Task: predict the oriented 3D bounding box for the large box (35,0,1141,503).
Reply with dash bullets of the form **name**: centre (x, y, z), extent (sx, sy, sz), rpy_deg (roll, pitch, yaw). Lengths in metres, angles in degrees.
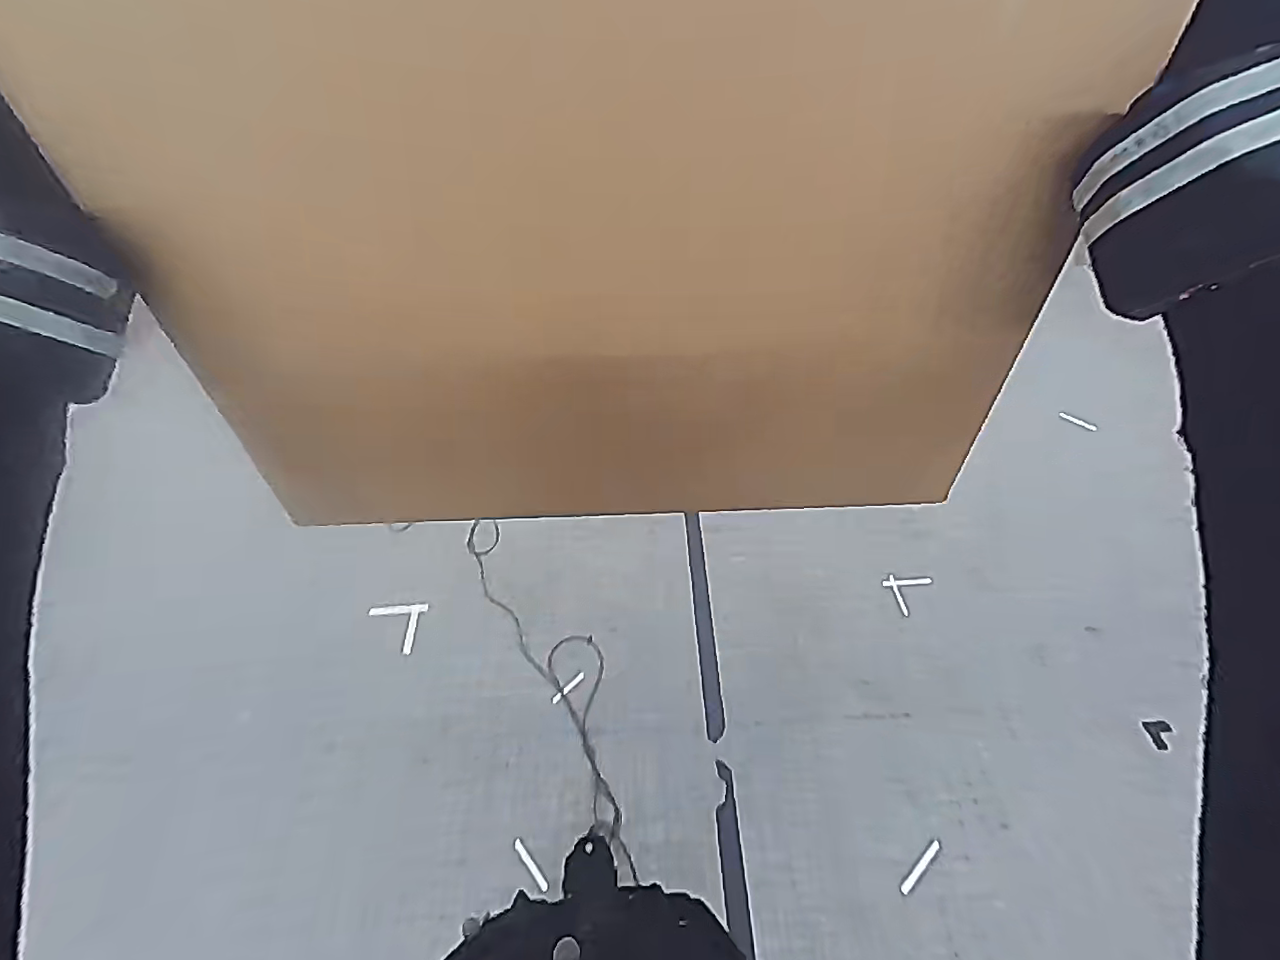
- **large box**: centre (-0.018, -0.202, 0.360), extent (0.408, 0.320, 0.320), rpy_deg (-2, 43, -1)
